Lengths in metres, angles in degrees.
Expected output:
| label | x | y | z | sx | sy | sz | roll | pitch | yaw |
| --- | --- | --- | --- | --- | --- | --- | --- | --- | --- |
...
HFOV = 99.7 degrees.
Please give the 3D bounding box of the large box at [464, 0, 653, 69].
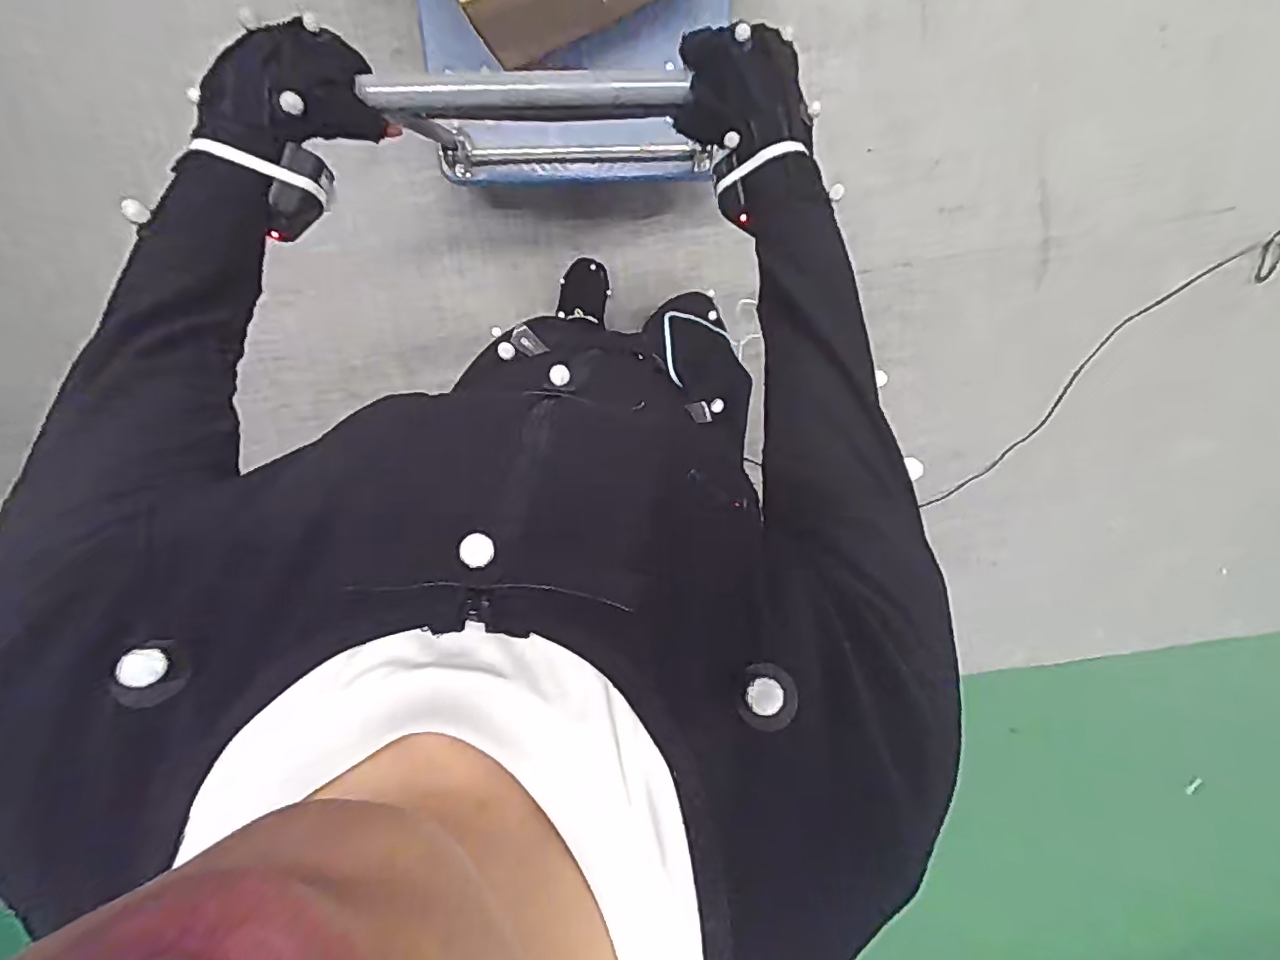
| label | x | y | z | sx | sy | sz | roll | pitch | yaw |
| --- | --- | --- | --- | --- | --- | --- | --- | --- | --- |
| large box | -0.113 | -0.916 | 0.812 | 0.408 | 0.320 | 0.320 | -20 | 111 | 8 |
